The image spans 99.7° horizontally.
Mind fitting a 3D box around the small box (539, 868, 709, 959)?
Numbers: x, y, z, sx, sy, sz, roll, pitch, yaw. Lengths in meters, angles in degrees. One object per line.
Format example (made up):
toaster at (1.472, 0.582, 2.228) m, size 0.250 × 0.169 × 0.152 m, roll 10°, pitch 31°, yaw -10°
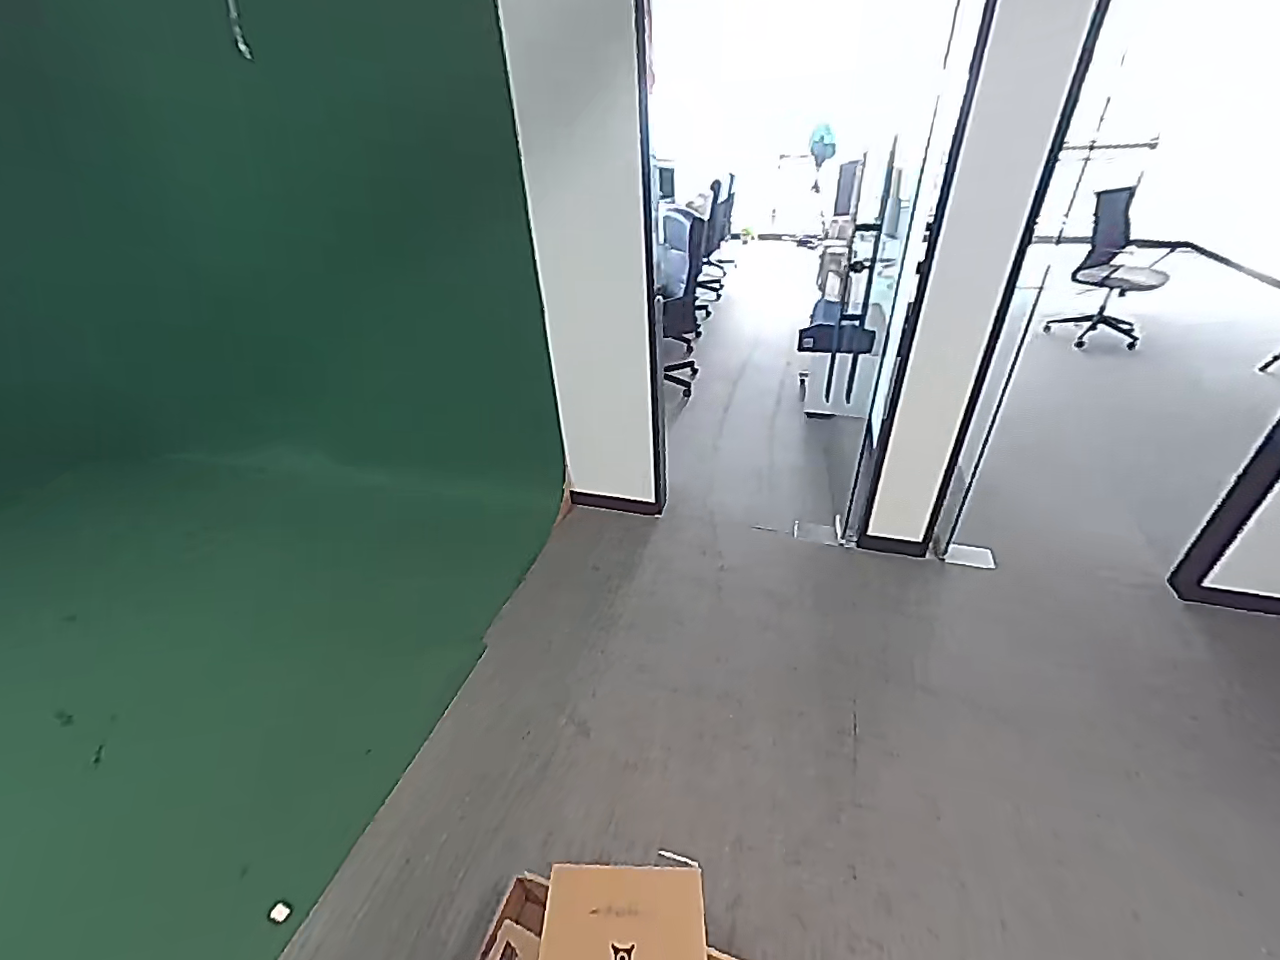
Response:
small box at (-0.016, 0.533, 0.543) m, size 0.168 × 0.176 × 0.179 m, roll 2°, pitch 26°, yaw 1°
